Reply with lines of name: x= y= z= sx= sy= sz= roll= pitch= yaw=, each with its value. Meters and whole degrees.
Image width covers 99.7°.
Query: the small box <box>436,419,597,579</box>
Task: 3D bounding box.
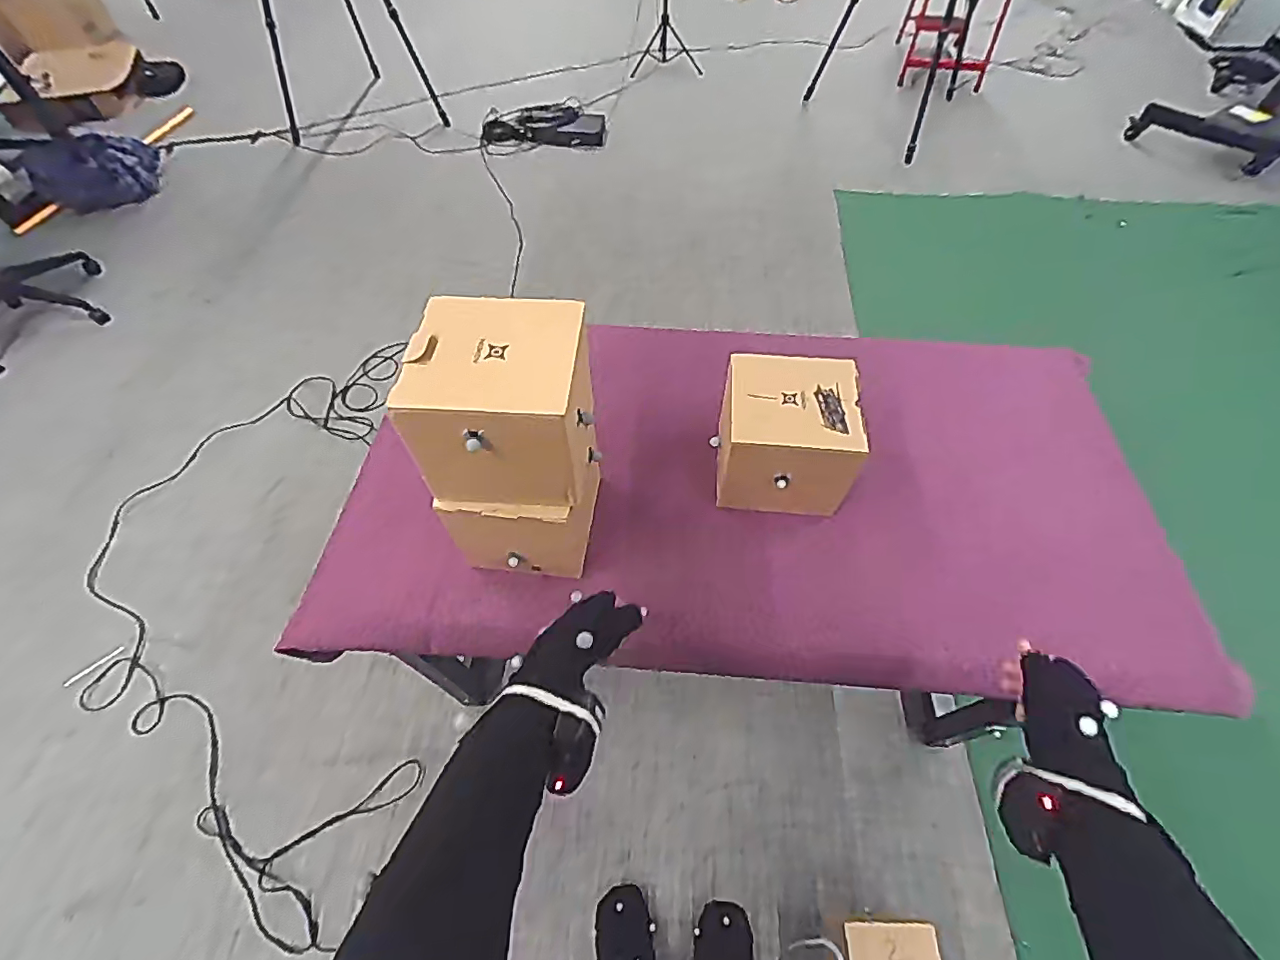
small box: x=-0.154 y=0.017 z=0.751 sx=0.168 sy=0.176 sz=0.179 roll=7 pitch=57 yaw=4

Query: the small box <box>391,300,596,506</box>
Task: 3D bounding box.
small box: x=-0.147 y=-0.082 z=0.622 sx=0.179 sy=0.176 sz=0.168 roll=3 pitch=57 yaw=2

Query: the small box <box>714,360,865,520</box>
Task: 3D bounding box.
small box: x=0.211 y=-0.054 z=0.803 sx=0.179 sy=0.176 sz=0.168 roll=5 pitch=57 yaw=4
